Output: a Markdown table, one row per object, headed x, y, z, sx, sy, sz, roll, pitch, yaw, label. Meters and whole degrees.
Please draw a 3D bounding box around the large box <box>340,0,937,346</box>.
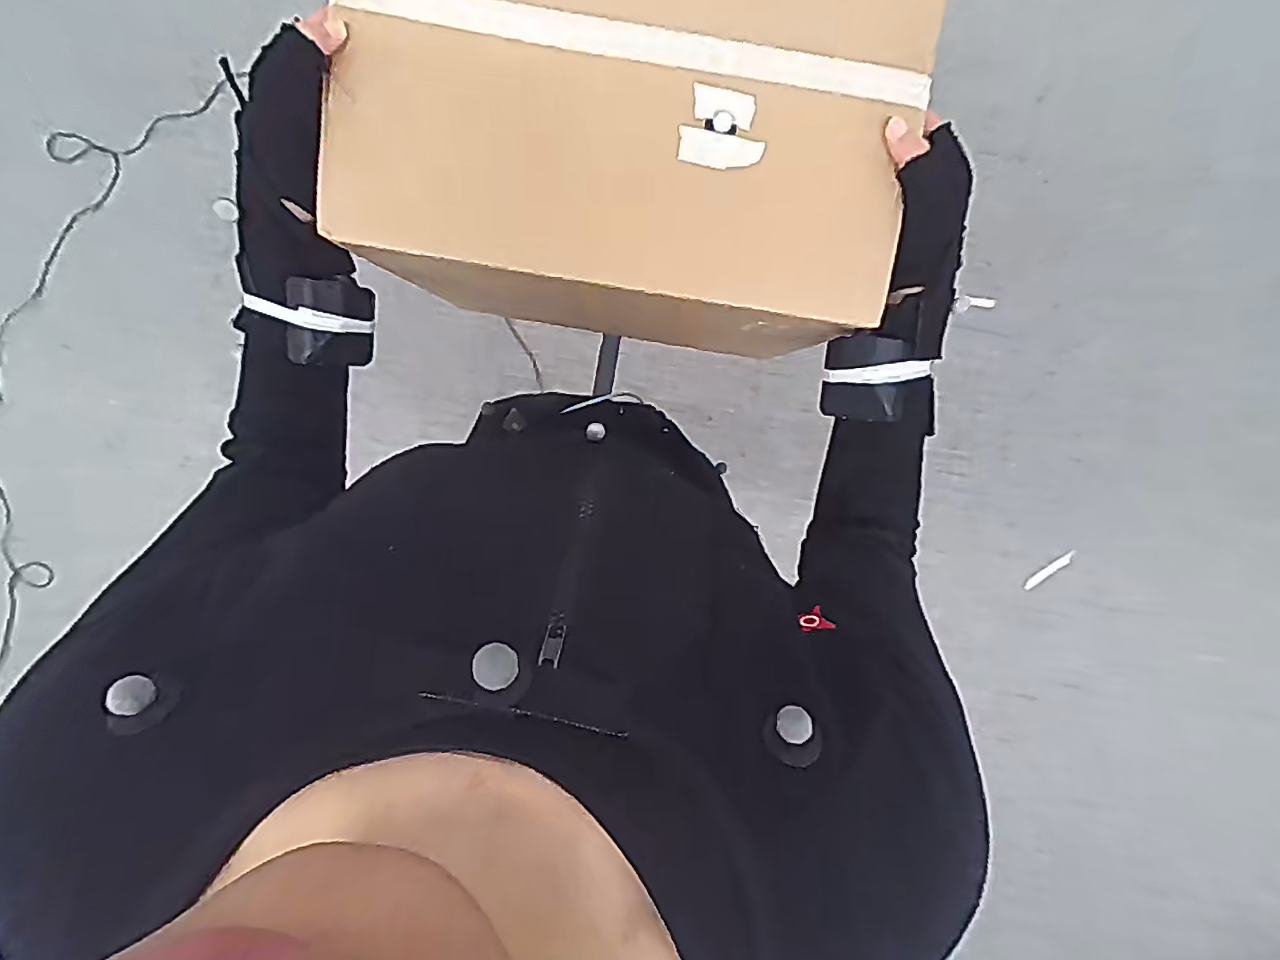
| x | y | z | sx | sy | sz | roll | pitch | yaw | label |
| --- | --- | --- | --- | --- | --- | --- | --- | --- | --- |
| -0.005 | -0.324 | 0.521 | 0.408 | 0.320 | 0.320 | 8 | 99 | -3 | large box |
